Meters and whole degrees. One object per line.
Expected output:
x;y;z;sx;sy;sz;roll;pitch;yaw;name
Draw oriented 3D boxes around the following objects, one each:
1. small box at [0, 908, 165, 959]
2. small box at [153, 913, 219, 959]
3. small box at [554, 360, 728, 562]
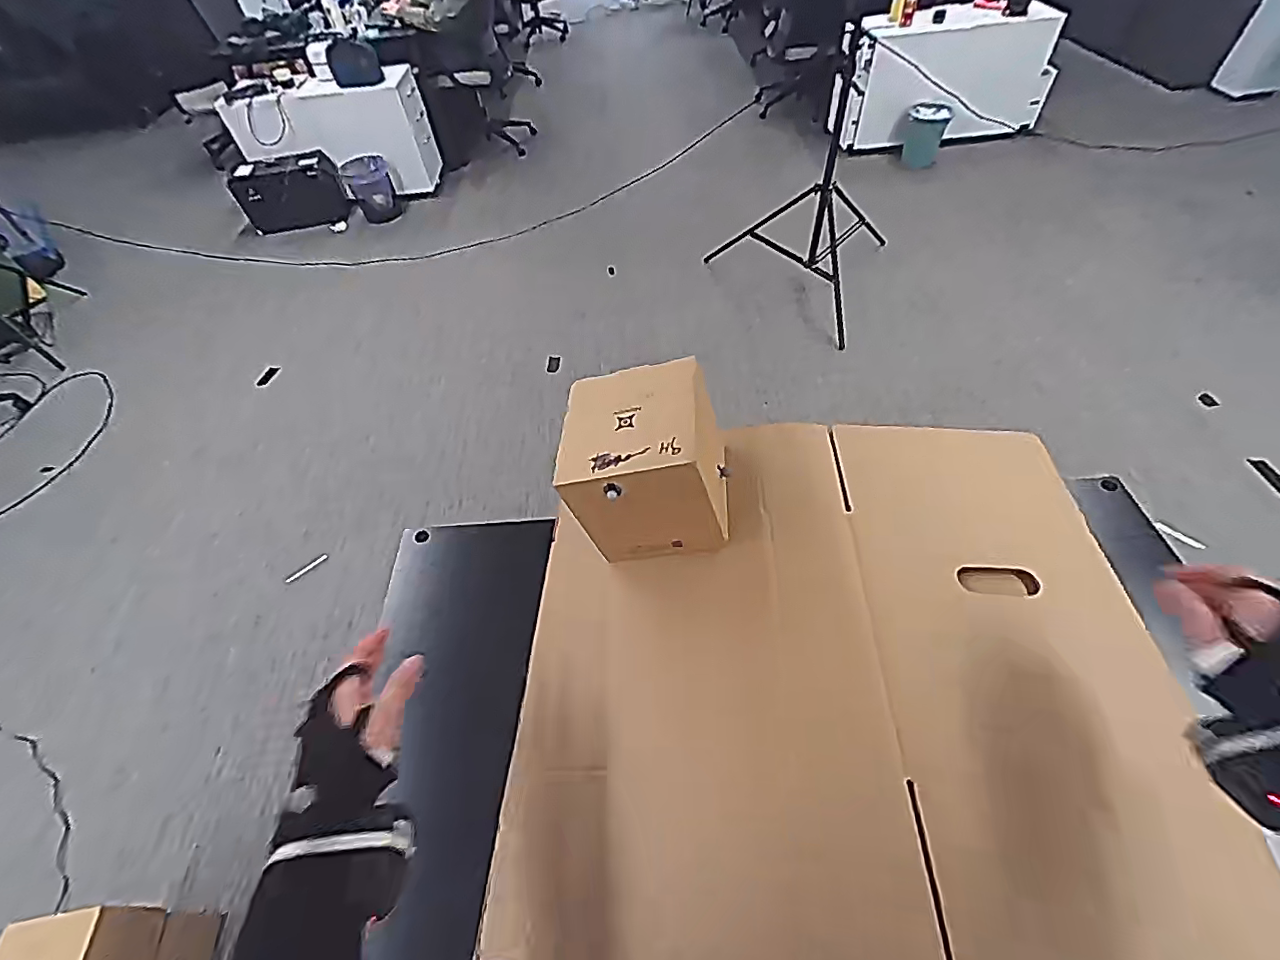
-1.018;0.892;0.969;0.168;0.176;0.179;-9;50;-3;small box
-1.005;0.998;1.092;0.168;0.176;0.179;-8;52;-1;small box
0.013;-0.019;0.685;0.168;0.176;0.179;-10;48;17;small box
